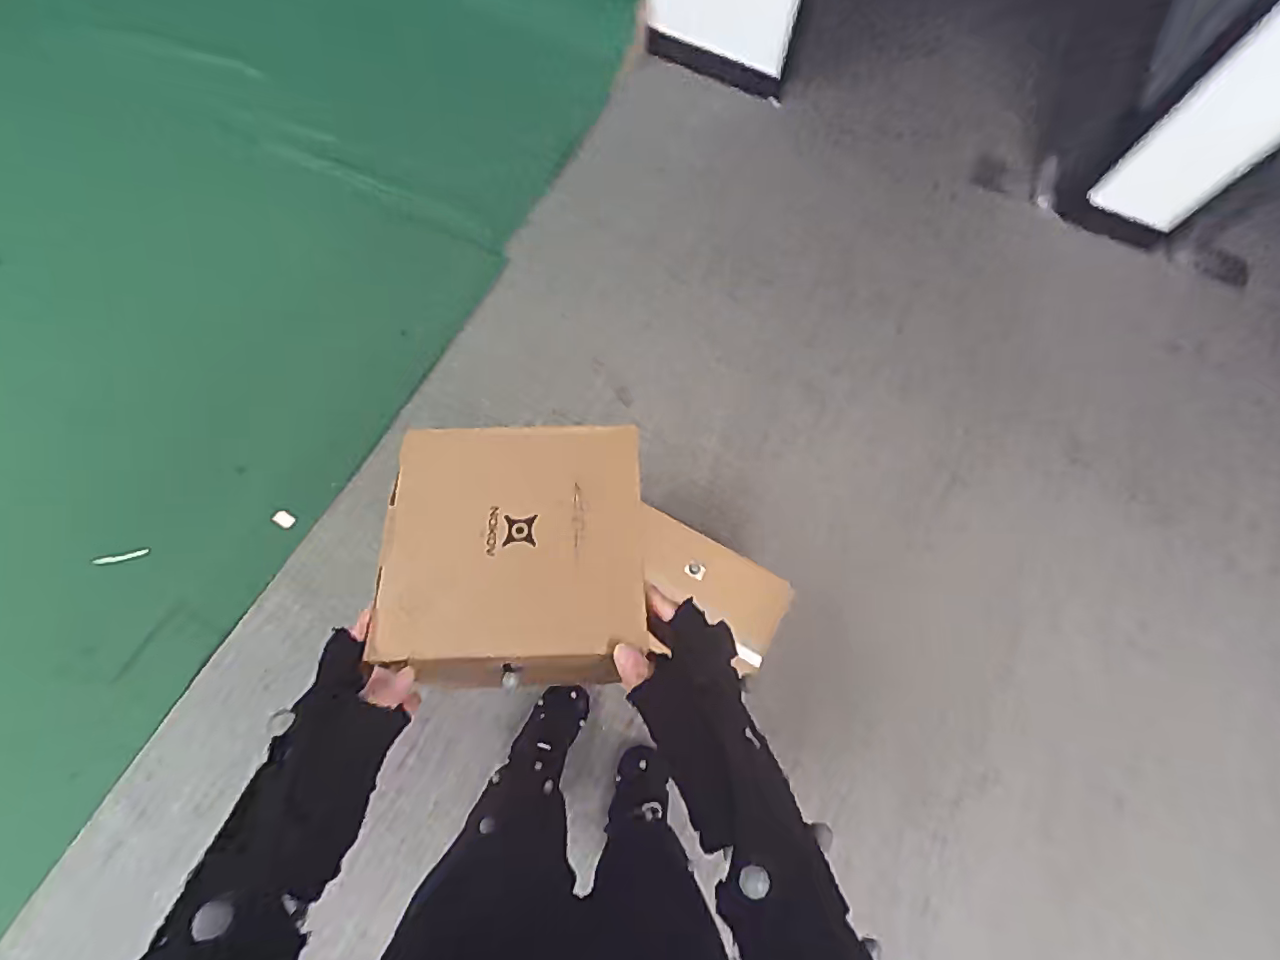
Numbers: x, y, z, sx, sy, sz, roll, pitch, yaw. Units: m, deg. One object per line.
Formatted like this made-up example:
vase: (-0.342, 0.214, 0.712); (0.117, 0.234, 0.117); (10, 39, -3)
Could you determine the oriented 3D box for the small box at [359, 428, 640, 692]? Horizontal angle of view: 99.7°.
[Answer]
small box: (-0.093, 0.074, 0.437); (0.179, 0.176, 0.168); (-3, 65, -4)
